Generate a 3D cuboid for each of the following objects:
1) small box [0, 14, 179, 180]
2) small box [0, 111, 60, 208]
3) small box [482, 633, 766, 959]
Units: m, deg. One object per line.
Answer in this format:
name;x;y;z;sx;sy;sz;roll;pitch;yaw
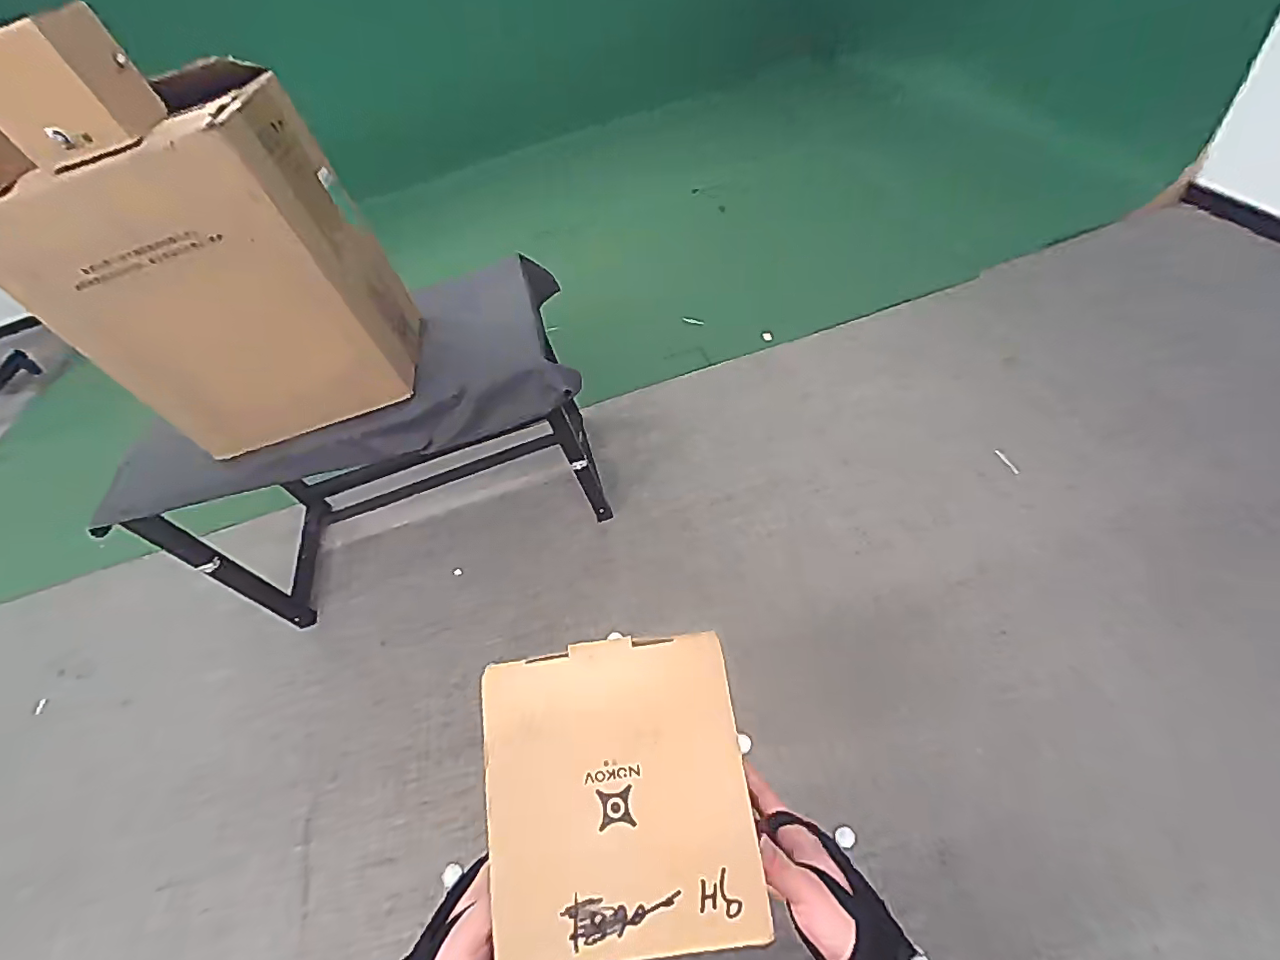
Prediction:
small box;-0.939;-0.640;0.910;0.168;0.176;0.179;-19;50;2
small box;-1.166;-0.562;0.916;0.168;0.176;0.179;-17;49;4
small box;-0.011;0.224;0.415;0.168;0.176;0.179;-10;70;3
